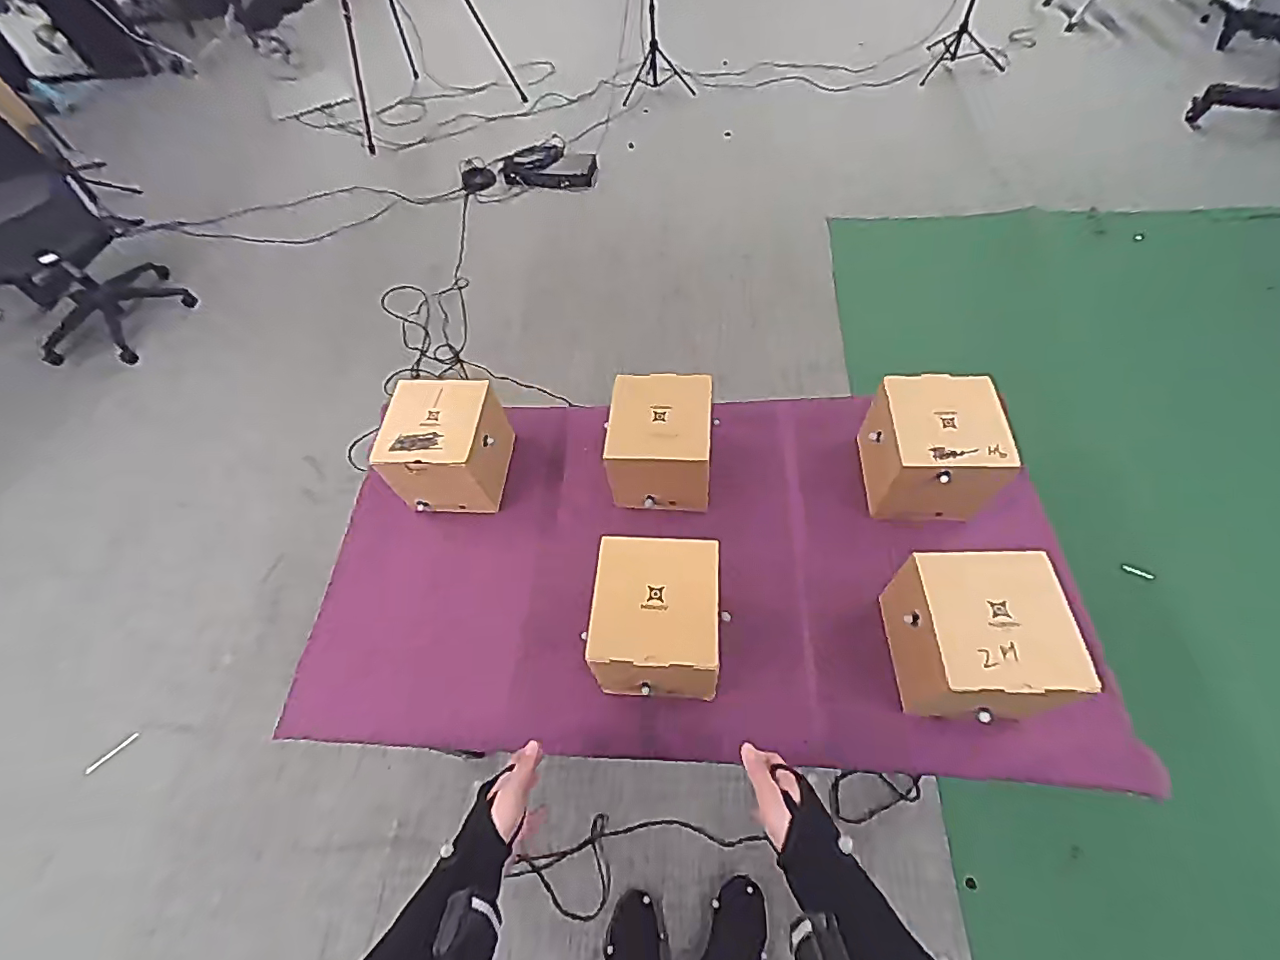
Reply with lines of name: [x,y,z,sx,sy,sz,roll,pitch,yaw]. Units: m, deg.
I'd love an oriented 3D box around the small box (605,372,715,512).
small box: [0.039,-0.063,0.928,0.168,0.176,0.179,3,60,7]

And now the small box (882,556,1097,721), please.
small box: [0.444,0.215,0.726,0.168,0.176,0.179,-1,60,5]

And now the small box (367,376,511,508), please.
small box: [-0.338,-0.062,0.950,0.168,0.176,0.179,2,60,5]

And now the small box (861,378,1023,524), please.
small box: [0.473,-0.045,0.883,0.168,0.176,0.179,1,59,6]

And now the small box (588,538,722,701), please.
small box: [0.027,0.201,0.770,0.168,0.176,0.179,2,58,5]
